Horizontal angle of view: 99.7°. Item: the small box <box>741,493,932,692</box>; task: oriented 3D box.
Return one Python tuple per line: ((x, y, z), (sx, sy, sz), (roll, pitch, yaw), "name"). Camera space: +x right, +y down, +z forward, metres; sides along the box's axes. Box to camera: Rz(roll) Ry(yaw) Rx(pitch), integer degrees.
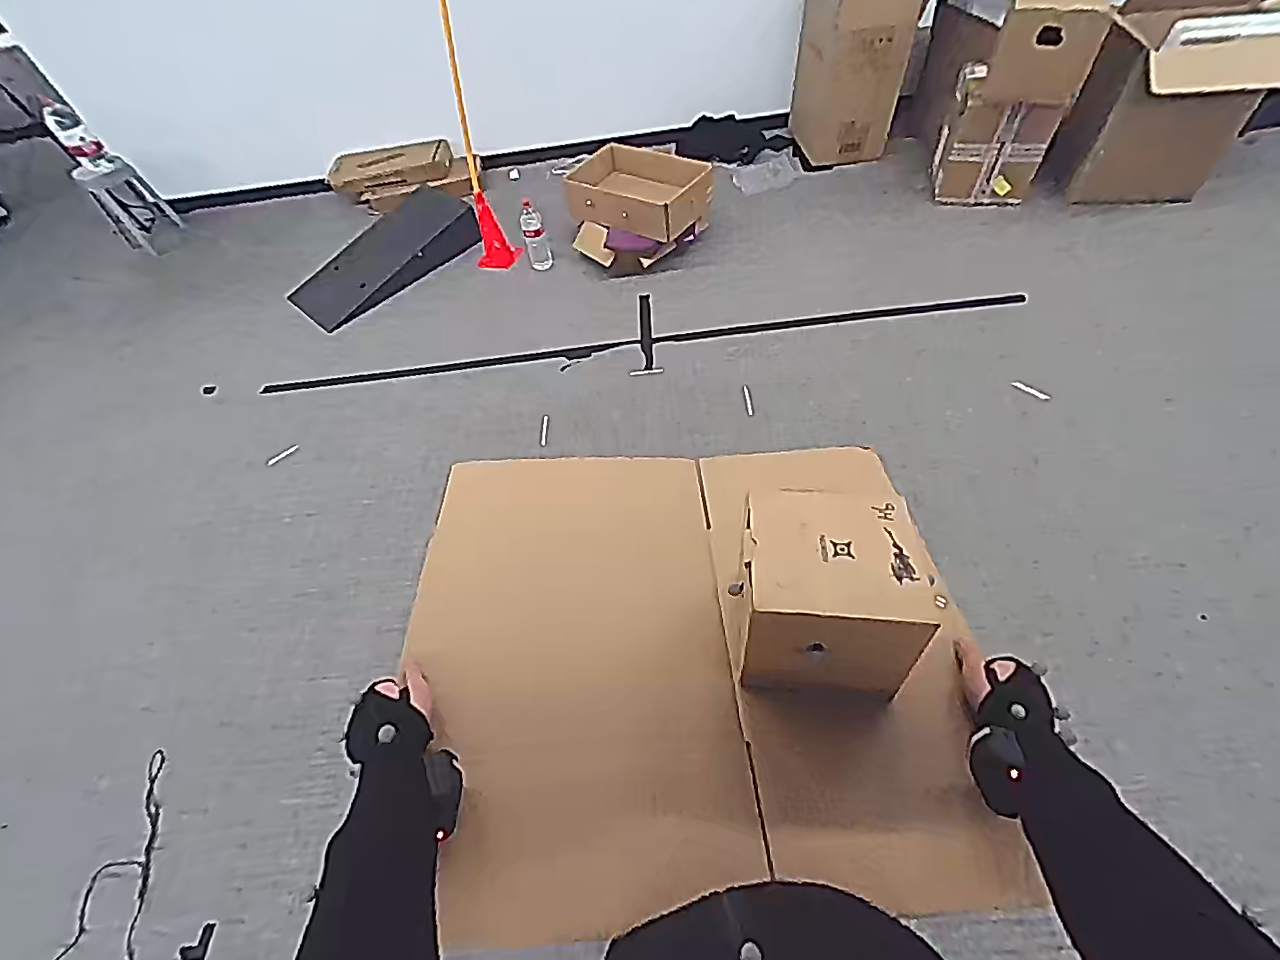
((0.208, 0.133, 0.633), (0.179, 0.176, 0.168), (1, 46, 8), "small box")
